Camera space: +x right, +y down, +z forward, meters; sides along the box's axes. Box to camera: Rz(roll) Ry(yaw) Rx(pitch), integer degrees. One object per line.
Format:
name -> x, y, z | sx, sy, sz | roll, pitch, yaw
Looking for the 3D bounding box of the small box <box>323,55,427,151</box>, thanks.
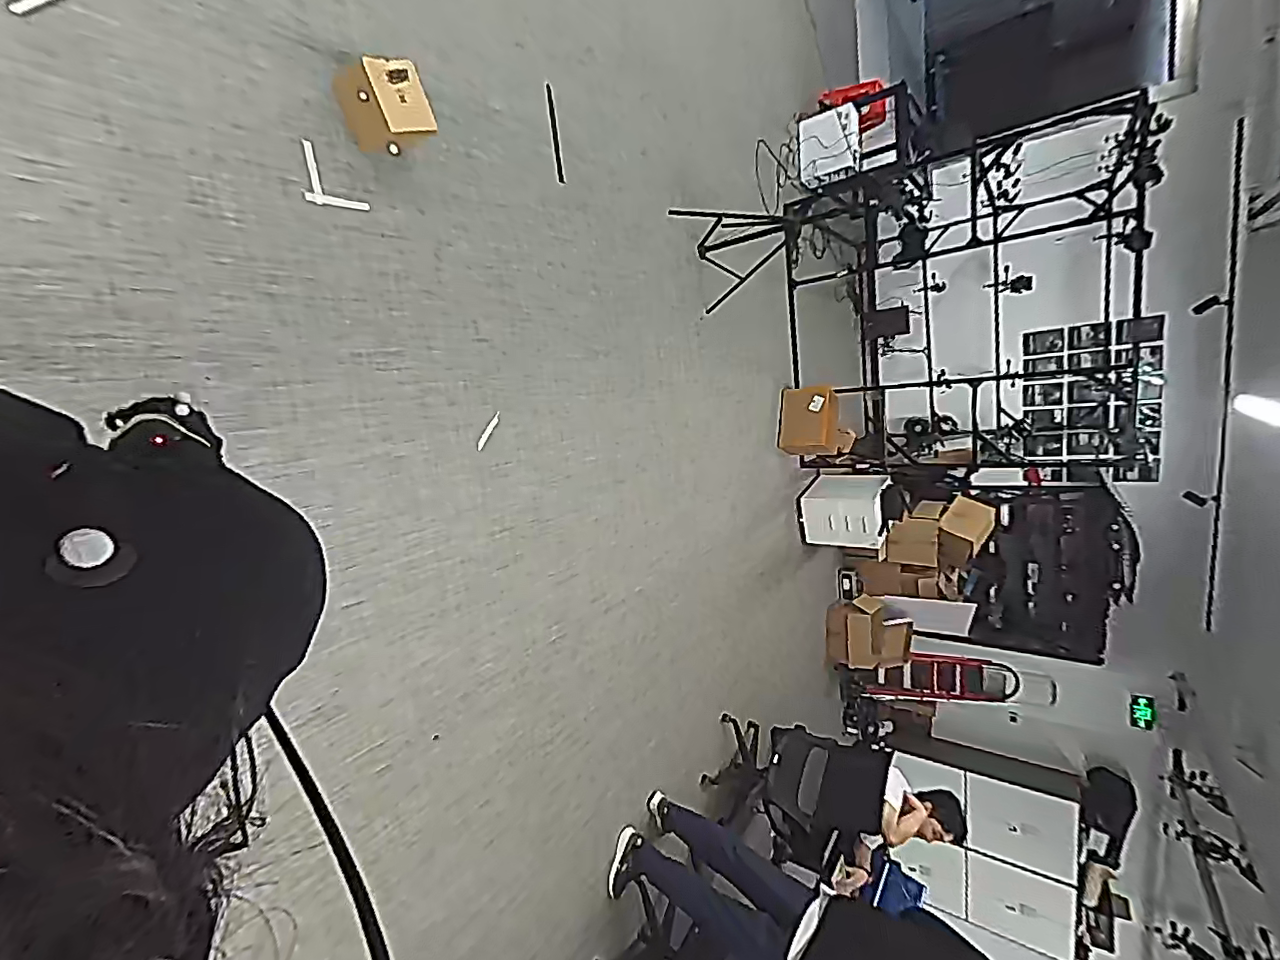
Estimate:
small box -> -0.746, -1.053, 1.521 | 0.168, 0.176, 0.179 | -43, 124, -45
